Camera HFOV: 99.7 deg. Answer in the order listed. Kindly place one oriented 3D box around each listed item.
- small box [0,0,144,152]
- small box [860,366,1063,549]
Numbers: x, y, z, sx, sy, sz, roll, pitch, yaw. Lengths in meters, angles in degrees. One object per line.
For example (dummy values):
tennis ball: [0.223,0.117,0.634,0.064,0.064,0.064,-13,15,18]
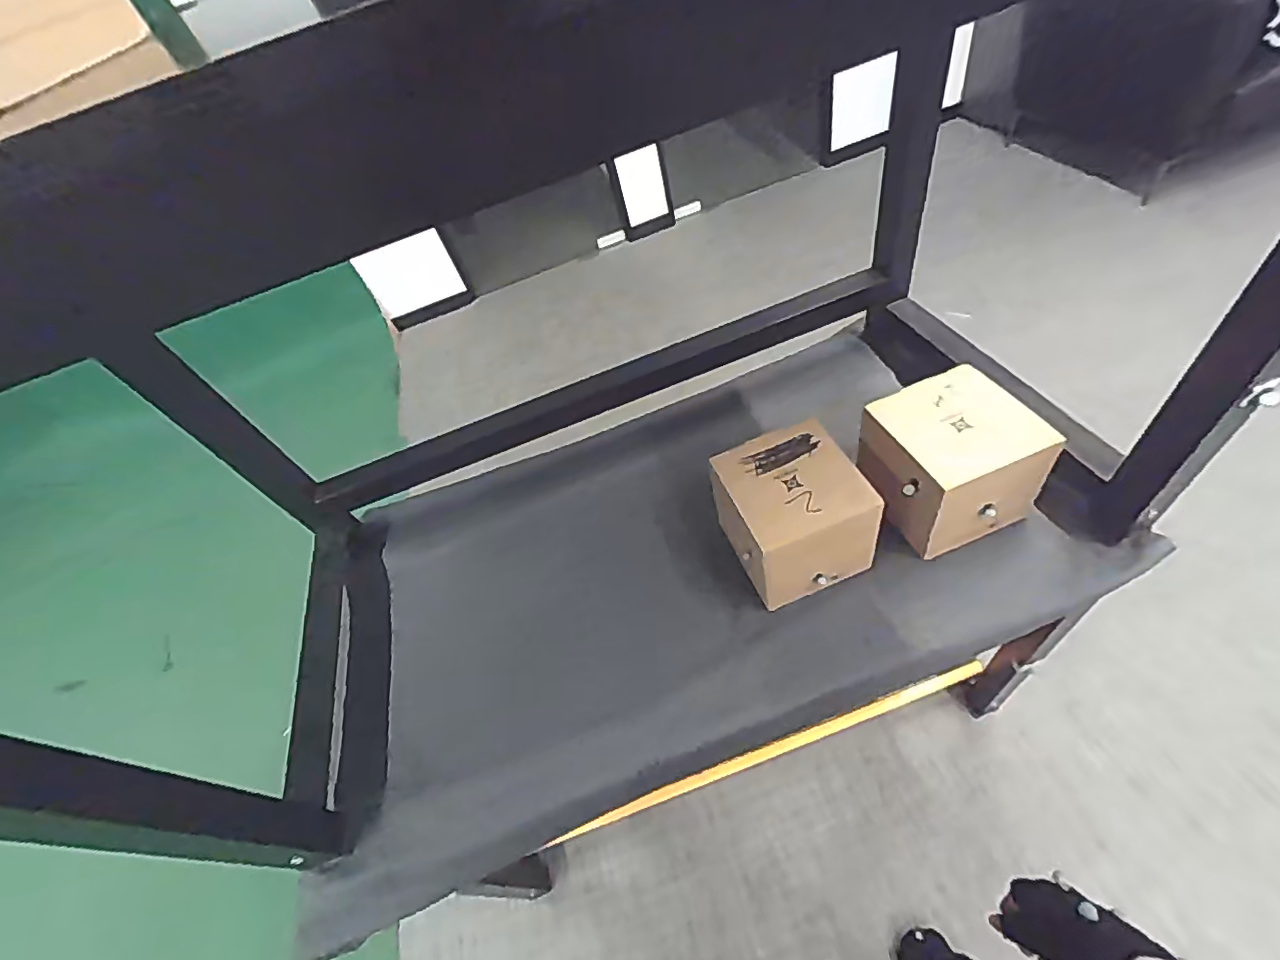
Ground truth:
small box: [-0.344,-0.202,0.191,0.168,0.176,0.179,-18,49,2]
small box: [0.437,-0.023,0.771,0.168,0.176,0.179,-23,48,-2]
